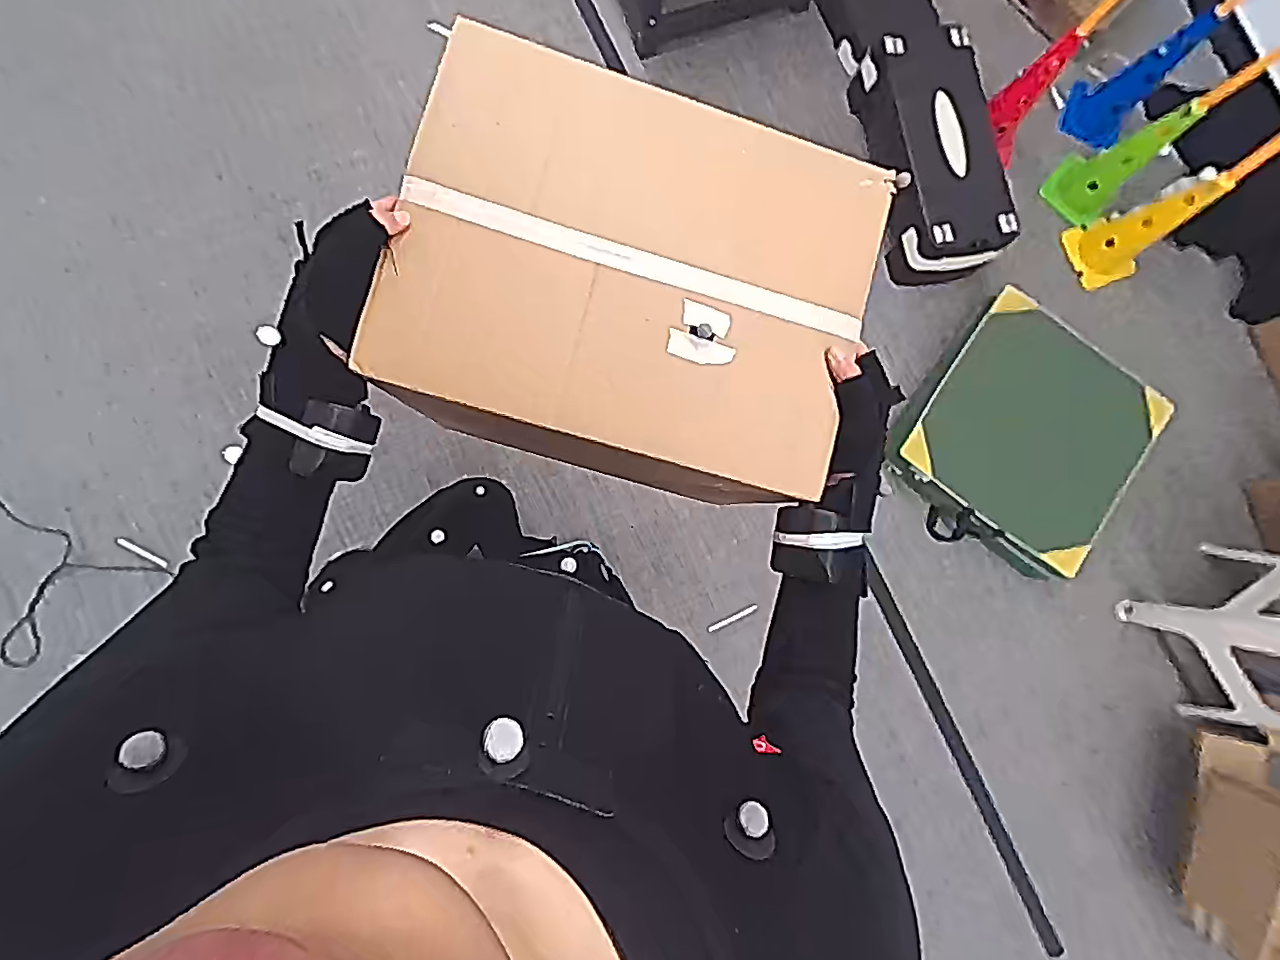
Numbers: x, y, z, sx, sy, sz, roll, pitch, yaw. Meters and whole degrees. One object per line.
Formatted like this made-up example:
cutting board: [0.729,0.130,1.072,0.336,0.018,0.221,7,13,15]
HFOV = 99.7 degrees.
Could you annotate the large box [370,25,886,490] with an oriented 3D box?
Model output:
large box: [-0.016,-0.187,0.619,0.408,0.320,0.320,16,87,-7]
